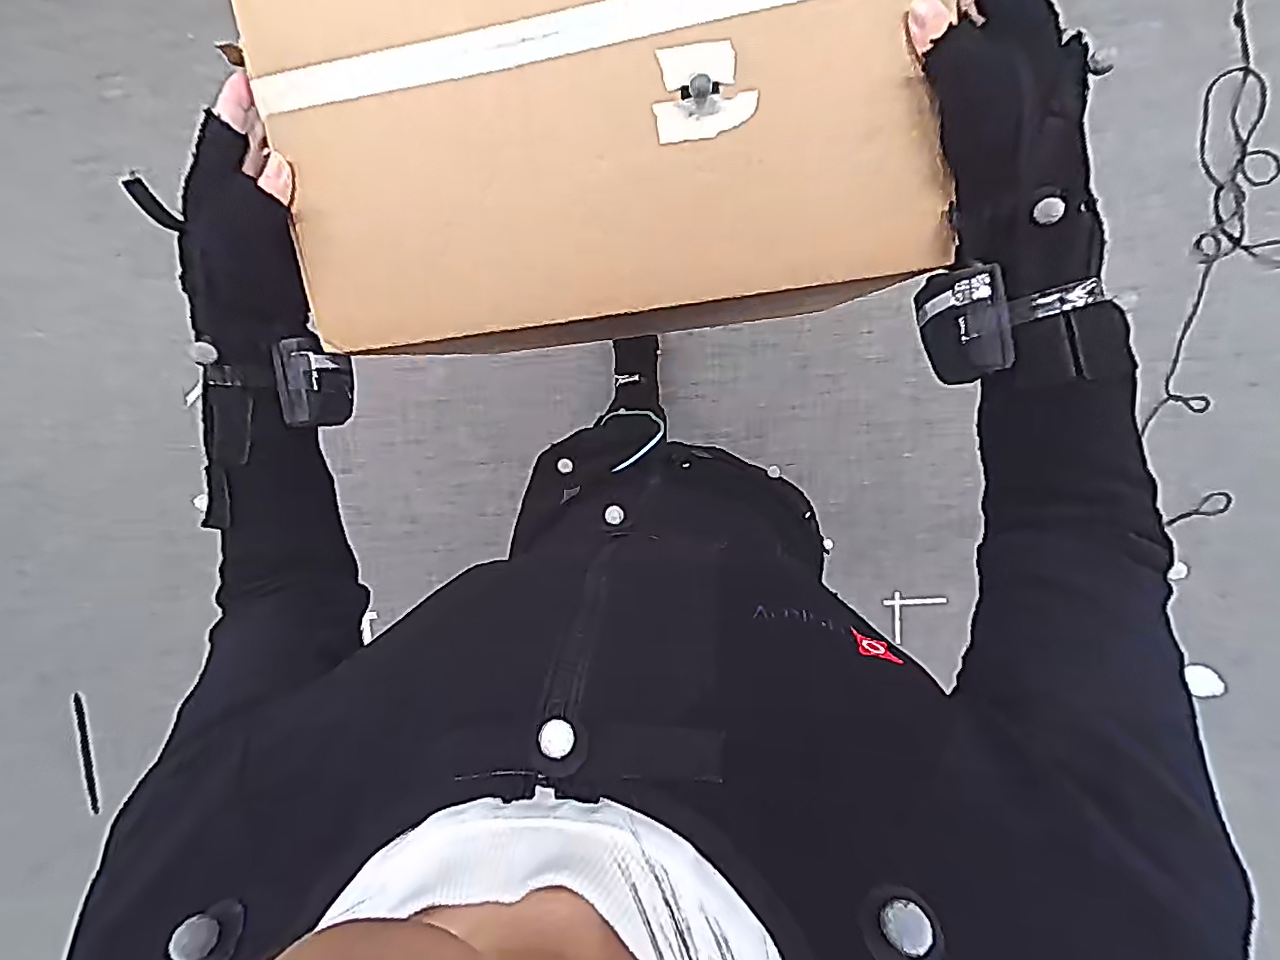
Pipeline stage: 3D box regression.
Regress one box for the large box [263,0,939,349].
[{"bbox_3d":[-0.021,-0.300,0.469,0.408,0.320,0.320,-6,103,6],"label":"large box"}]
